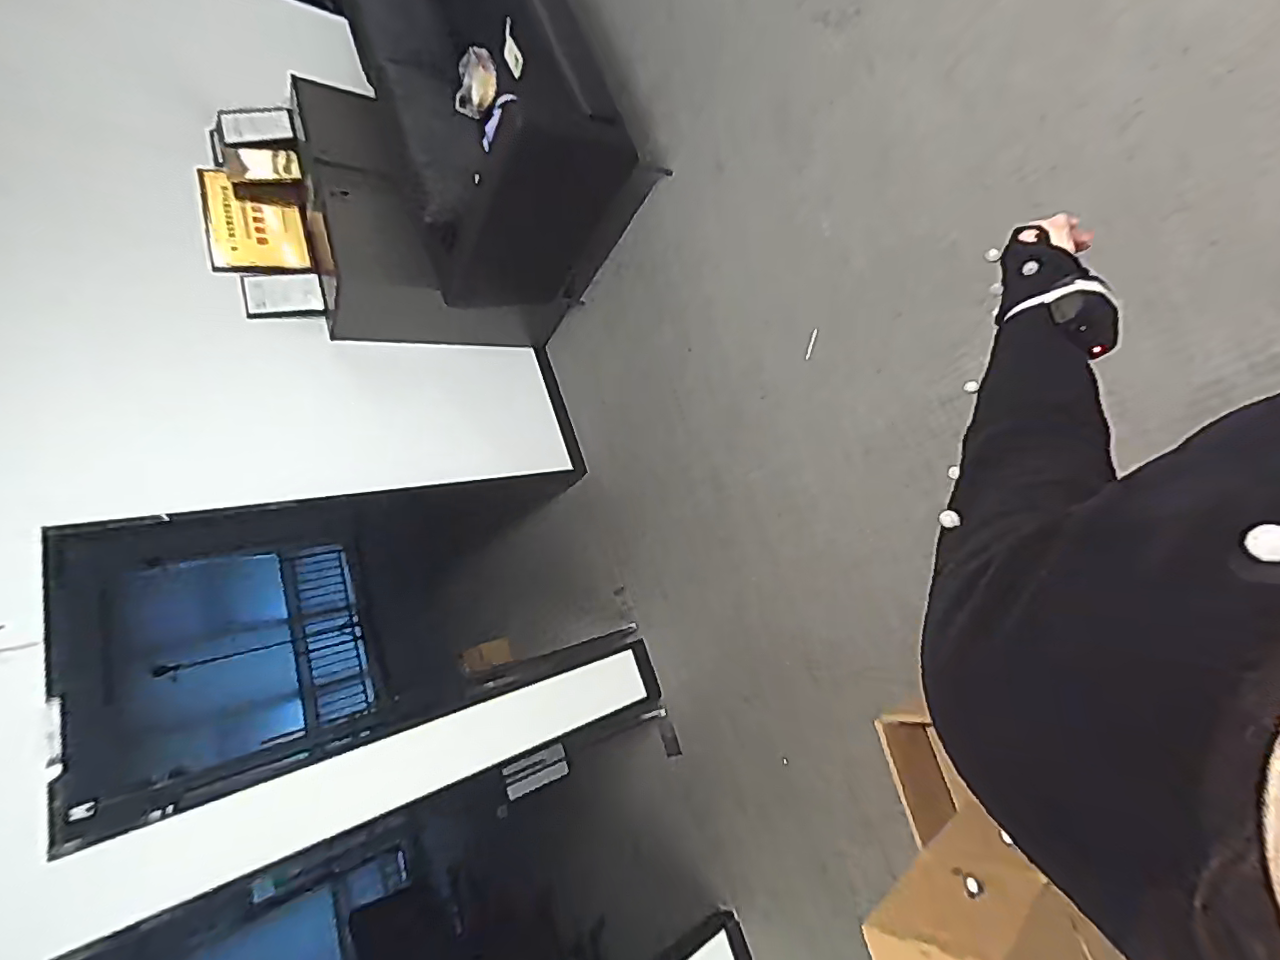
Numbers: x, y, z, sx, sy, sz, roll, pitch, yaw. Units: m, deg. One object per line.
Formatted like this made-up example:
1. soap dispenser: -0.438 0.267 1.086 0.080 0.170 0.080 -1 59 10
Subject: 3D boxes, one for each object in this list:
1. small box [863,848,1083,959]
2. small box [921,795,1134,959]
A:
1. small box: 0.411 0.586 0.644 0.168 0.176 0.179 -34 70 50
2. small box: 0.536 0.562 0.747 0.179 0.176 0.168 -34 70 49
